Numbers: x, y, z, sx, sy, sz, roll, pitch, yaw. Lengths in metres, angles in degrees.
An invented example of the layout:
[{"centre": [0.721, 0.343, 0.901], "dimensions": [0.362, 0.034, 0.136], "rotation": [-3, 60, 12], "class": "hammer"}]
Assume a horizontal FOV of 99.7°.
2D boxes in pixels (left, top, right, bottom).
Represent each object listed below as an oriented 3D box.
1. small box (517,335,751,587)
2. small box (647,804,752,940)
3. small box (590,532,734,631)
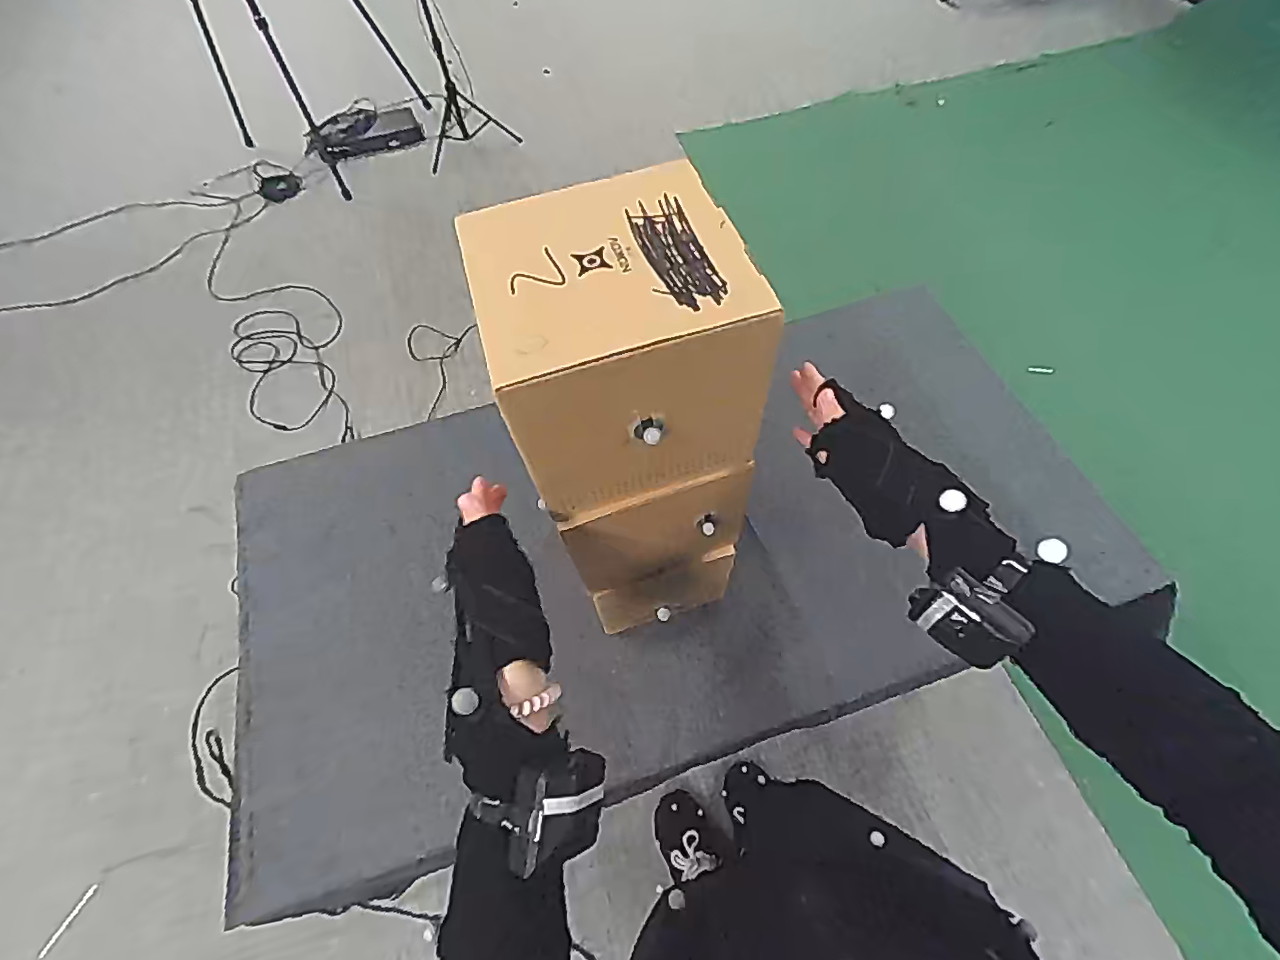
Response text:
[{"centre": [-0.008, -0.013, 0.554], "dimensions": [0.179, 0.176, 0.168], "rotation": [-18, 59, -7], "class": "small box"}, {"centre": [0.124, 0.803, 1.126], "dimensions": [0.179, 0.176, 0.168], "rotation": [4, 72, 25], "class": "small box"}, {"centre": [0.006, 0.071, 0.694], "dimensions": [0.168, 0.176, 0.179], "rotation": [-16, 61, -6], "class": "small box"}]
